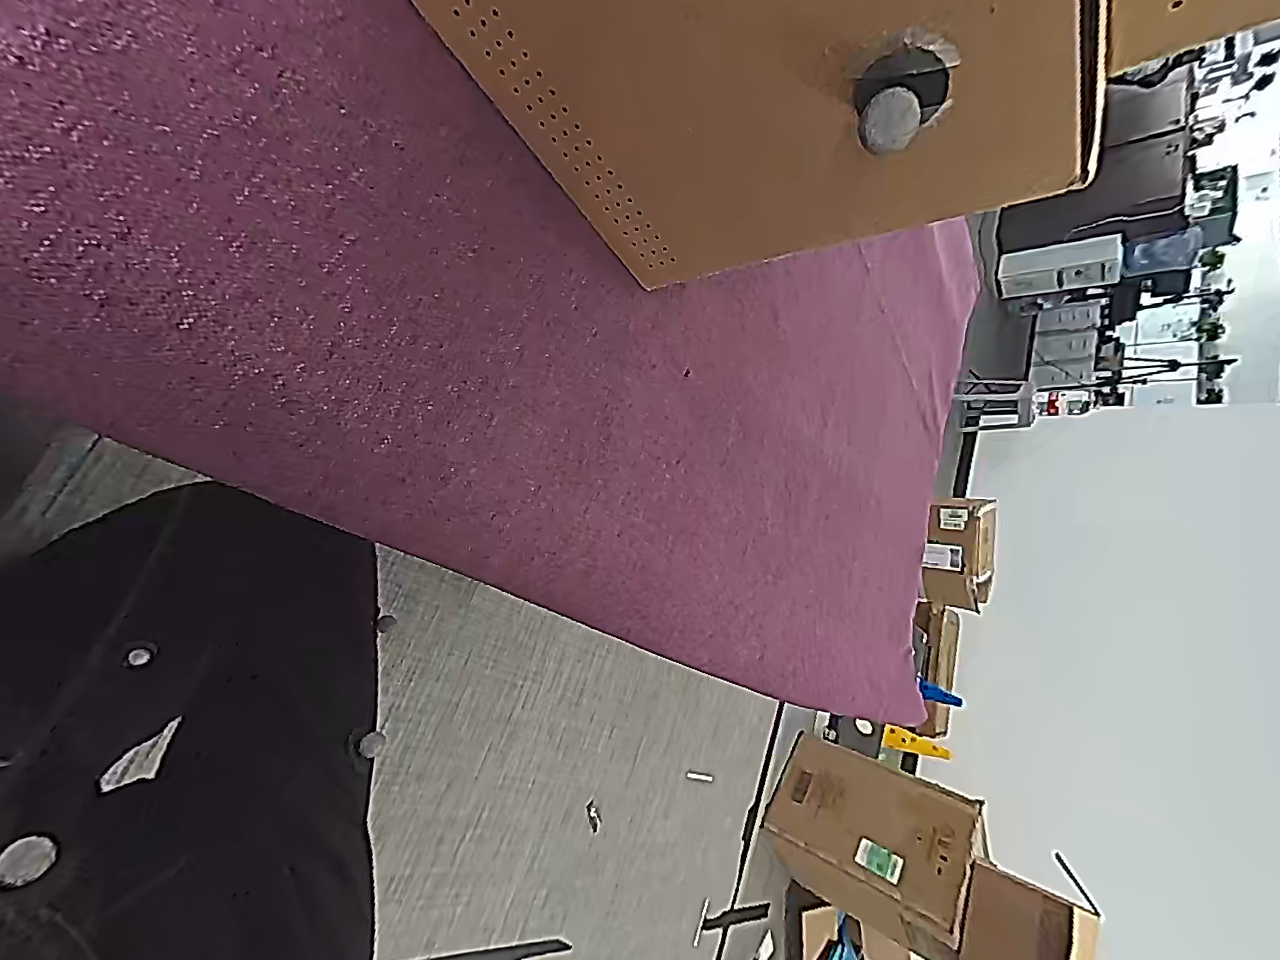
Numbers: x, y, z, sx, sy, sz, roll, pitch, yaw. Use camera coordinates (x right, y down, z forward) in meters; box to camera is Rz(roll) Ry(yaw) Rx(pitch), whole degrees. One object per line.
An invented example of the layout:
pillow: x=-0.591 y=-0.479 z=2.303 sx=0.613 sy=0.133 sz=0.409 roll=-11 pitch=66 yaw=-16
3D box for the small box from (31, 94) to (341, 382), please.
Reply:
small box: x=-0.452 y=-0.233 z=0.554 sx=0.179 sy=0.176 sz=0.168 roll=34 pitch=36 yaw=-39

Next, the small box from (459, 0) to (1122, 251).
small box: x=0.050 y=-0.202 z=0.176 sx=0.179 sy=0.176 sz=0.168 roll=39 pitch=63 yaw=-43
